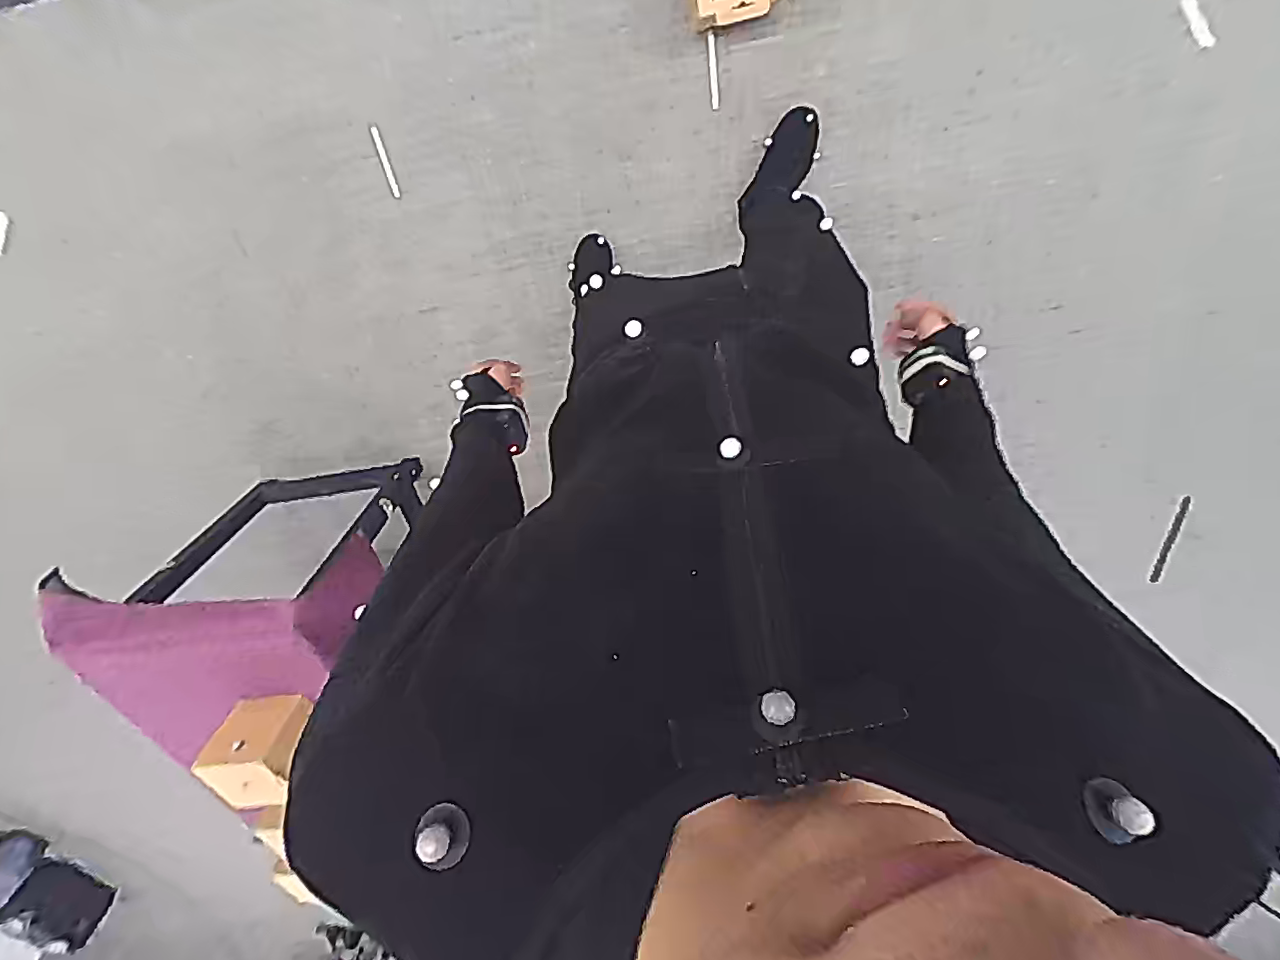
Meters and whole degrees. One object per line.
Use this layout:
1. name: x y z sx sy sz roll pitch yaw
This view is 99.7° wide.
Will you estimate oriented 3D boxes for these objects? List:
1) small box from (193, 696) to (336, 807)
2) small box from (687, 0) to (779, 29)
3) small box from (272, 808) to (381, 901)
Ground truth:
1. small box: -0.858 0.628 1.256 0.179 0.176 0.168 -9 122 8
2. small box: 0.173 -1.004 1.045 0.168 0.176 0.179 -9 121 7
3. small box: -0.876 1.056 1.530 0.179 0.176 0.168 -8 123 7
